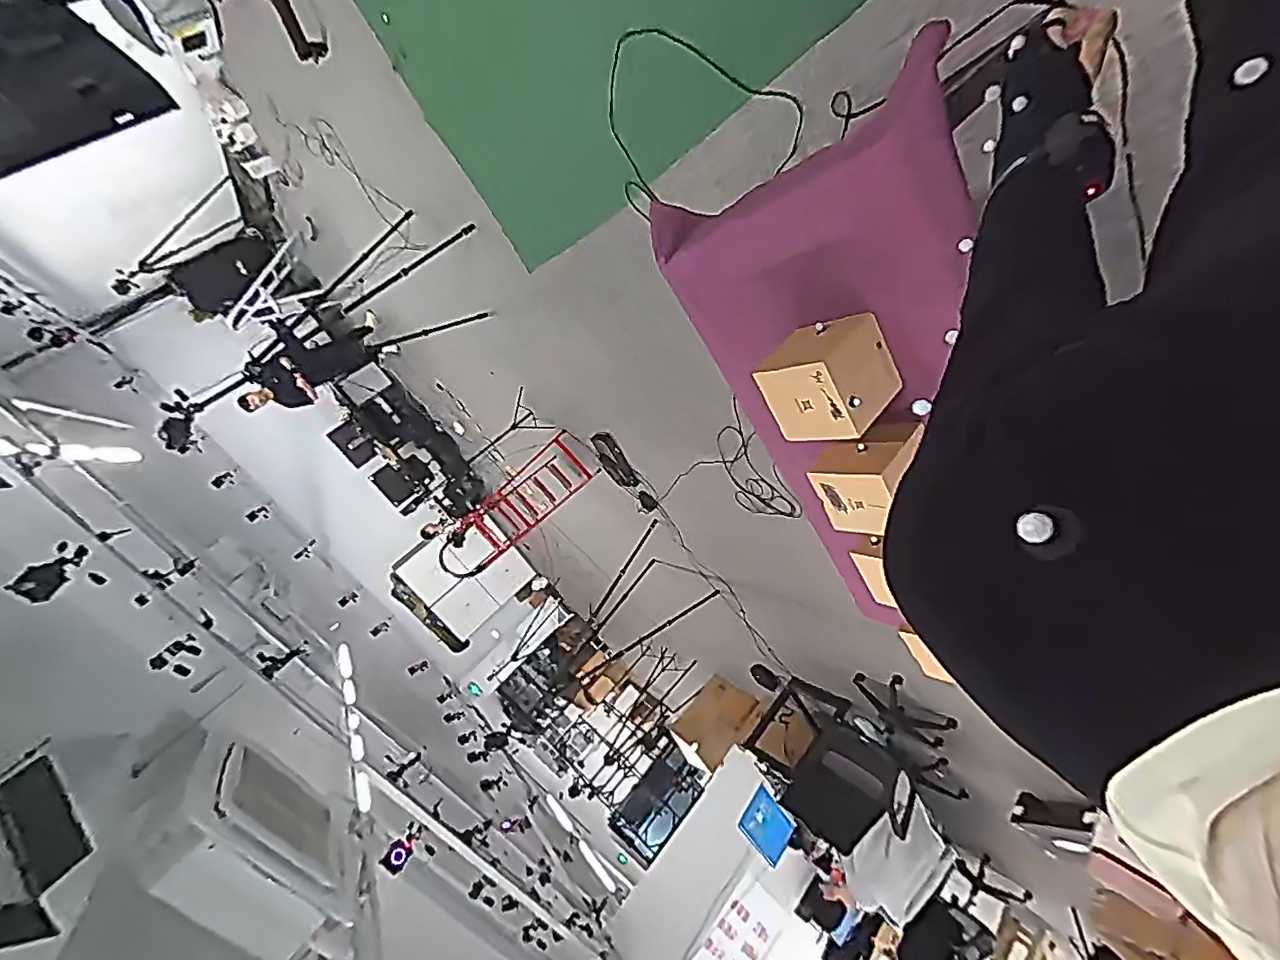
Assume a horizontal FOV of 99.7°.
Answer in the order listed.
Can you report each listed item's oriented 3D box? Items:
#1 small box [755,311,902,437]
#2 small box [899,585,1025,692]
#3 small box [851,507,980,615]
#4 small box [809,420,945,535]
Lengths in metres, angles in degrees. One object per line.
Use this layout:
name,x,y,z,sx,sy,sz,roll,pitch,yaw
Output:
small box,0.363,-0.200,1.042,0.168,0.176,0.179,55,157,-22
small box,0.763,0.361,1.282,0.168,0.176,0.179,53,156,-16
small box,0.618,0.169,1.213,0.168,0.176,0.179,55,156,-21
small box,0.495,-0.012,1.127,0.179,0.176,0.168,5,134,57
